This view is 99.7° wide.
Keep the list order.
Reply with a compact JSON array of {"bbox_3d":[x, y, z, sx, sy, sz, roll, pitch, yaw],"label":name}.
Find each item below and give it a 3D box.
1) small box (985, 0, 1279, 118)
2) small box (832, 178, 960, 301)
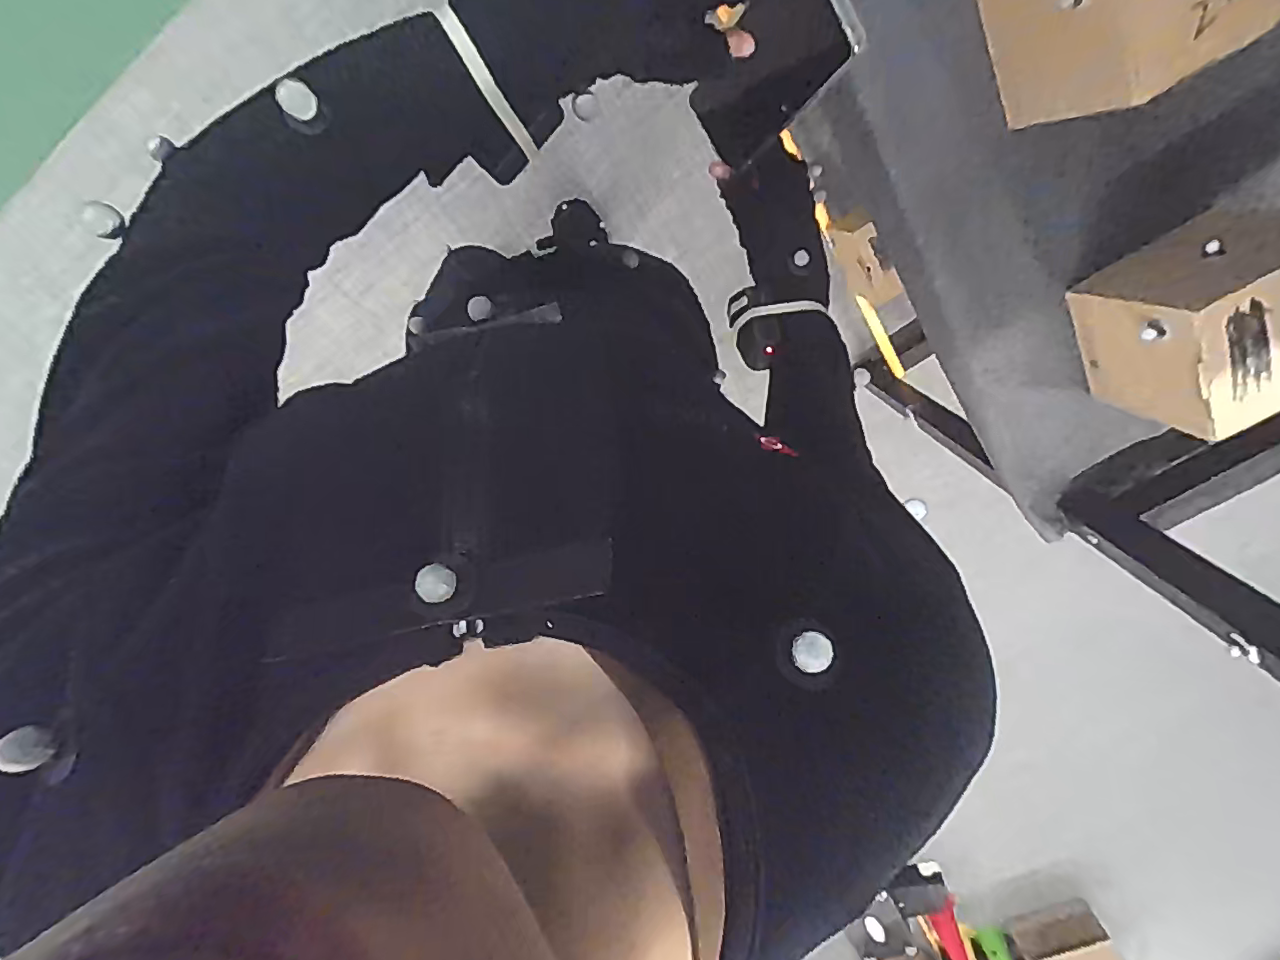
[{"bbox_3d":[0.430,-0.450,0.461,0.168,0.176,0.179,-30,115,12],"label":"small box"},{"bbox_3d":[0.526,-0.505,1.139,0.179,0.176,0.168,-29,115,12],"label":"small box"}]
